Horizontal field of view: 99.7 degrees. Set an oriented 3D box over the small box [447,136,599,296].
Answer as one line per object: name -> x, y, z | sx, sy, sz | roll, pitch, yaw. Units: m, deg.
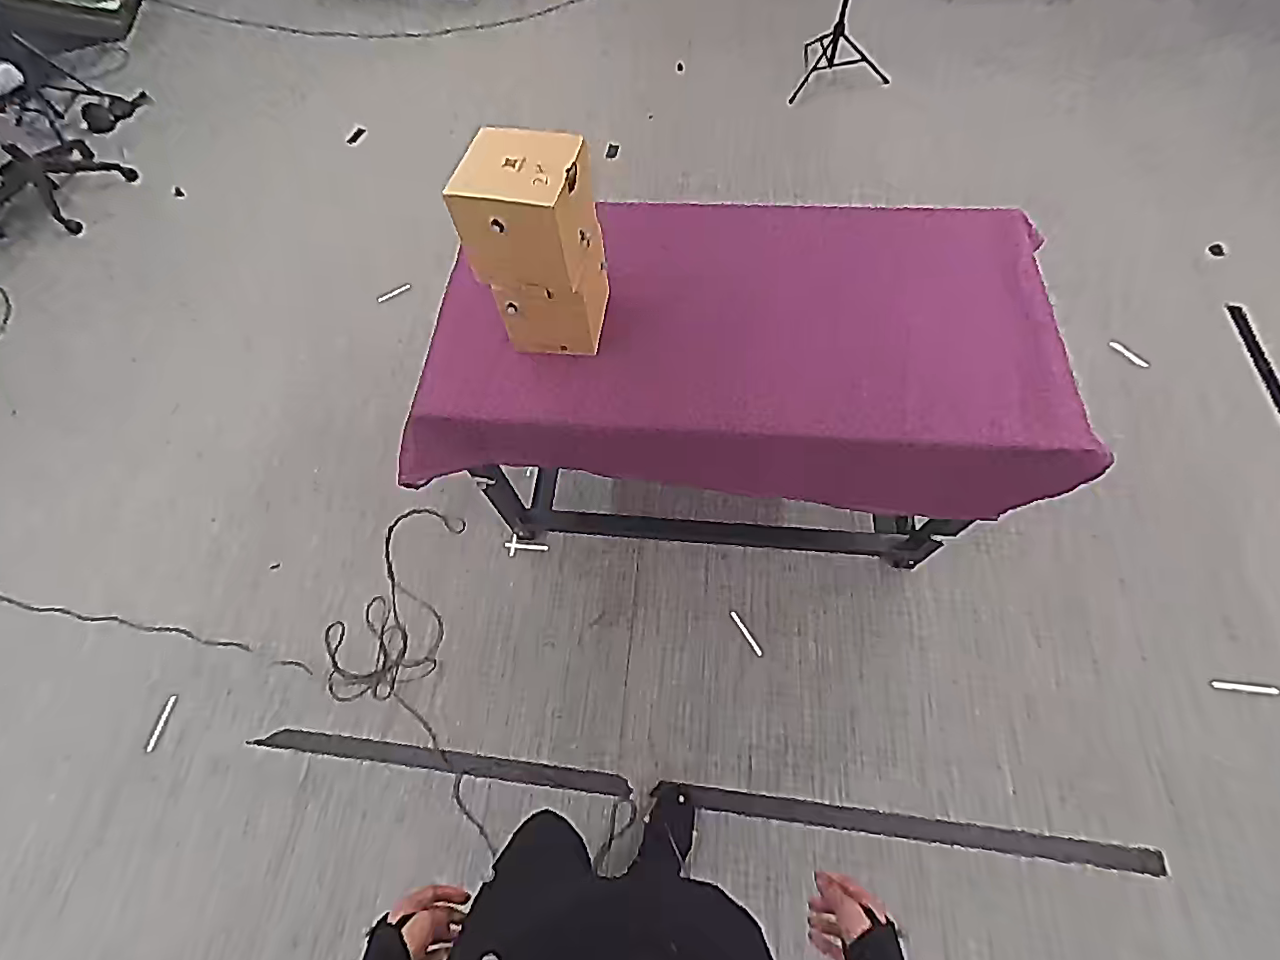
small box -> -0.178, -0.426, 0.885 | 0.179, 0.176, 0.168 | 11, 65, 9
